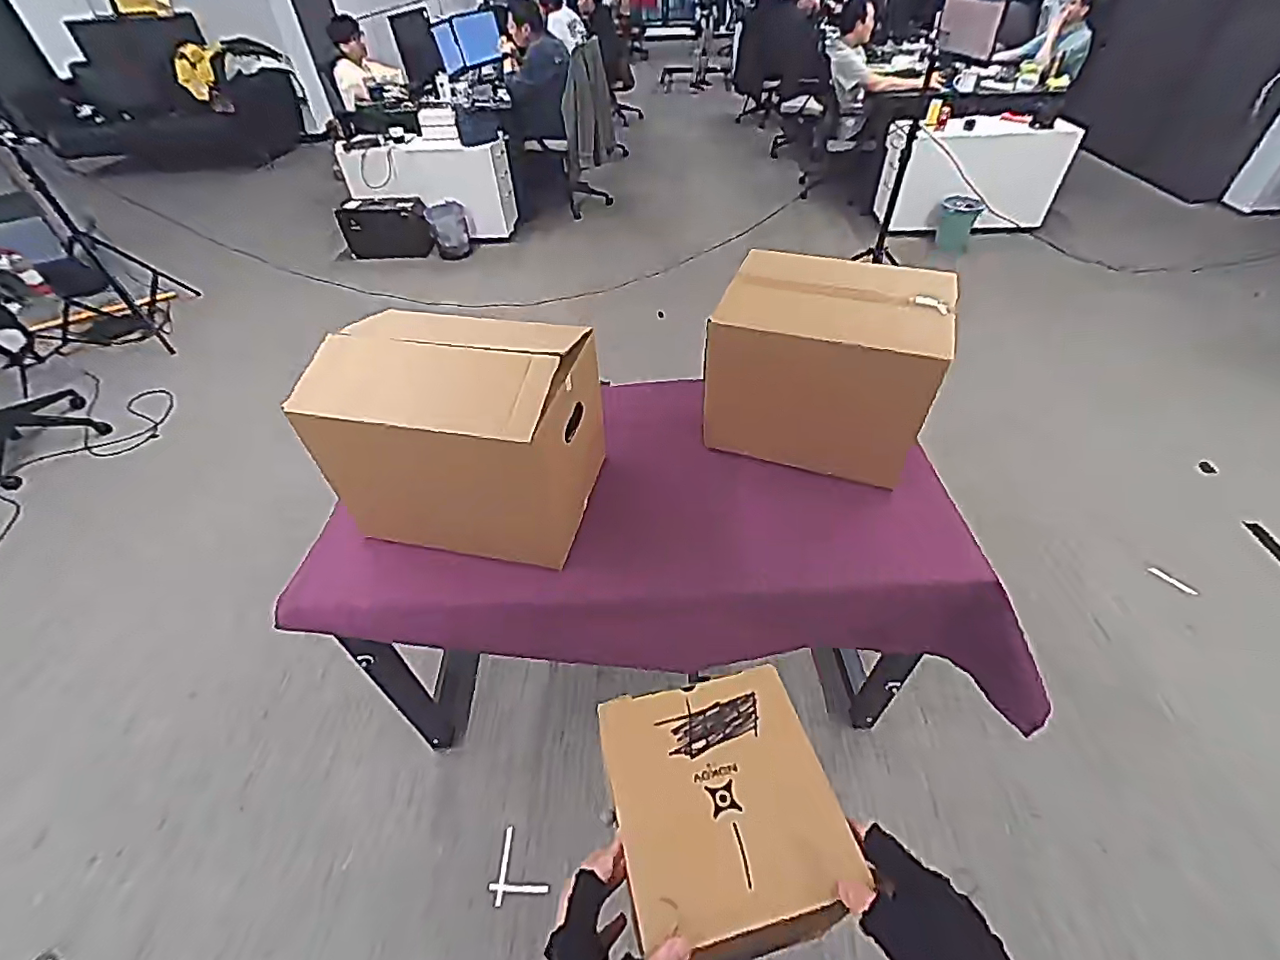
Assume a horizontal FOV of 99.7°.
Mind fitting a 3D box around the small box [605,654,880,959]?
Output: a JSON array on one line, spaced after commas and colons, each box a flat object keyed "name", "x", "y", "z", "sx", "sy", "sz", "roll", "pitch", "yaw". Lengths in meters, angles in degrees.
[{"name": "small box", "x": 0.065, "y": 0.284, "z": 0.466, "sx": 0.168, "sy": 0.176, "sz": 0.179, "roll": -9, "pitch": 42, "yaw": -10}]
